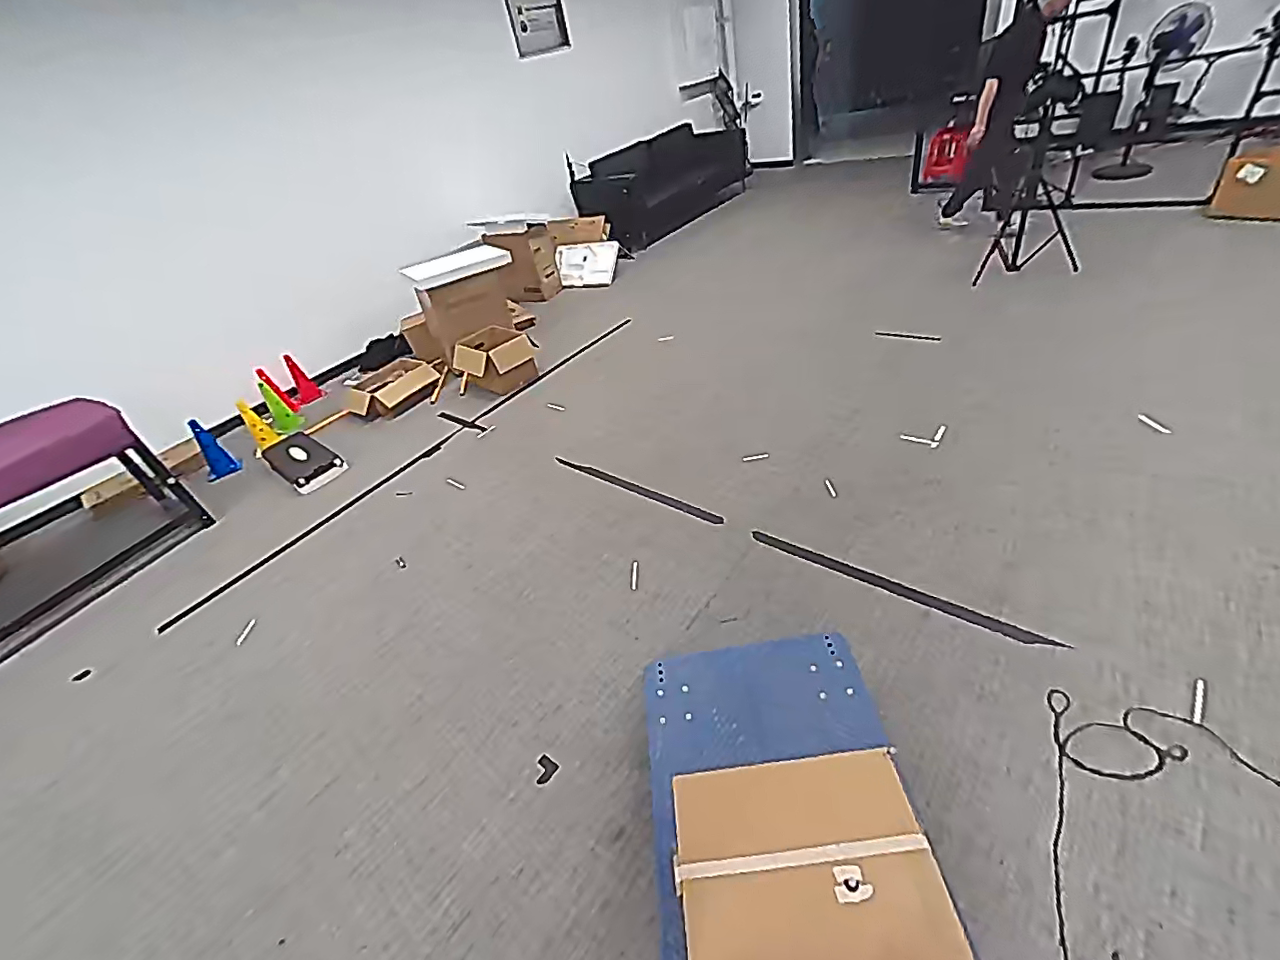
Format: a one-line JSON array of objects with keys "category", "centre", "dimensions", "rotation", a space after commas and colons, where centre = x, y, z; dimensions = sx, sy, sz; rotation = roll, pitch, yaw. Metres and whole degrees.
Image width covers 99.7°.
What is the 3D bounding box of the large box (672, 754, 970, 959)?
[{"category": "large box", "centre": [0.288, 0.747, 0.974], "dimensions": [0.408, 0.320, 0.320], "rotation": [-10, 38, 4]}]
